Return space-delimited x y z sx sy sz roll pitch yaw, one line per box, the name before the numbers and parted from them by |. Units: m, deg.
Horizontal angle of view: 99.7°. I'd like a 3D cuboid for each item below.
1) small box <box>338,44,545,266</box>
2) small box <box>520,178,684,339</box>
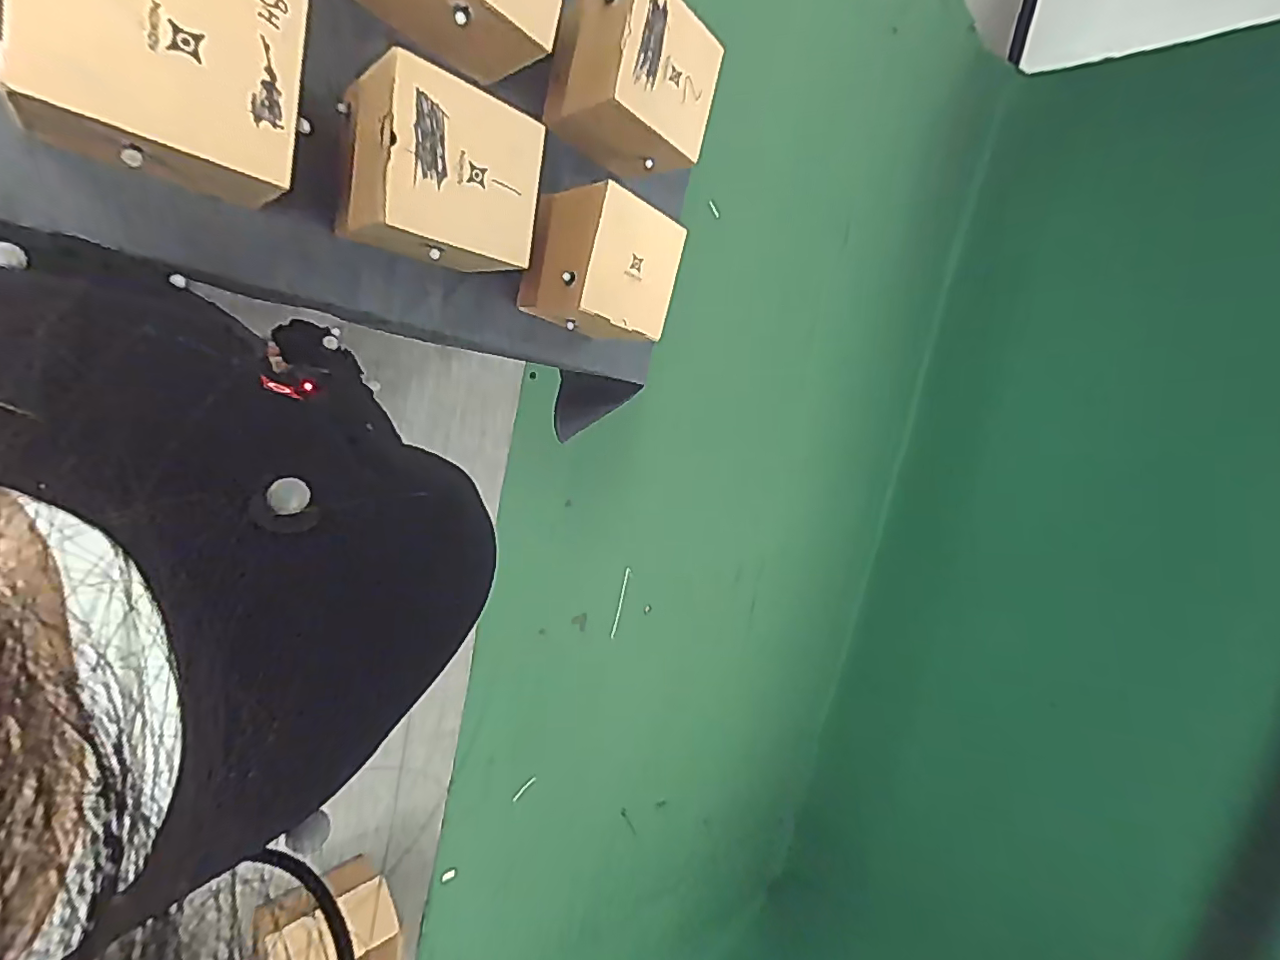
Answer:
small box | -0.241 -0.359 0.644 0.179 0.176 0.168 -1 105 -45
small box | -0.063 -0.330 0.834 0.168 0.176 0.179 8 99 -46
